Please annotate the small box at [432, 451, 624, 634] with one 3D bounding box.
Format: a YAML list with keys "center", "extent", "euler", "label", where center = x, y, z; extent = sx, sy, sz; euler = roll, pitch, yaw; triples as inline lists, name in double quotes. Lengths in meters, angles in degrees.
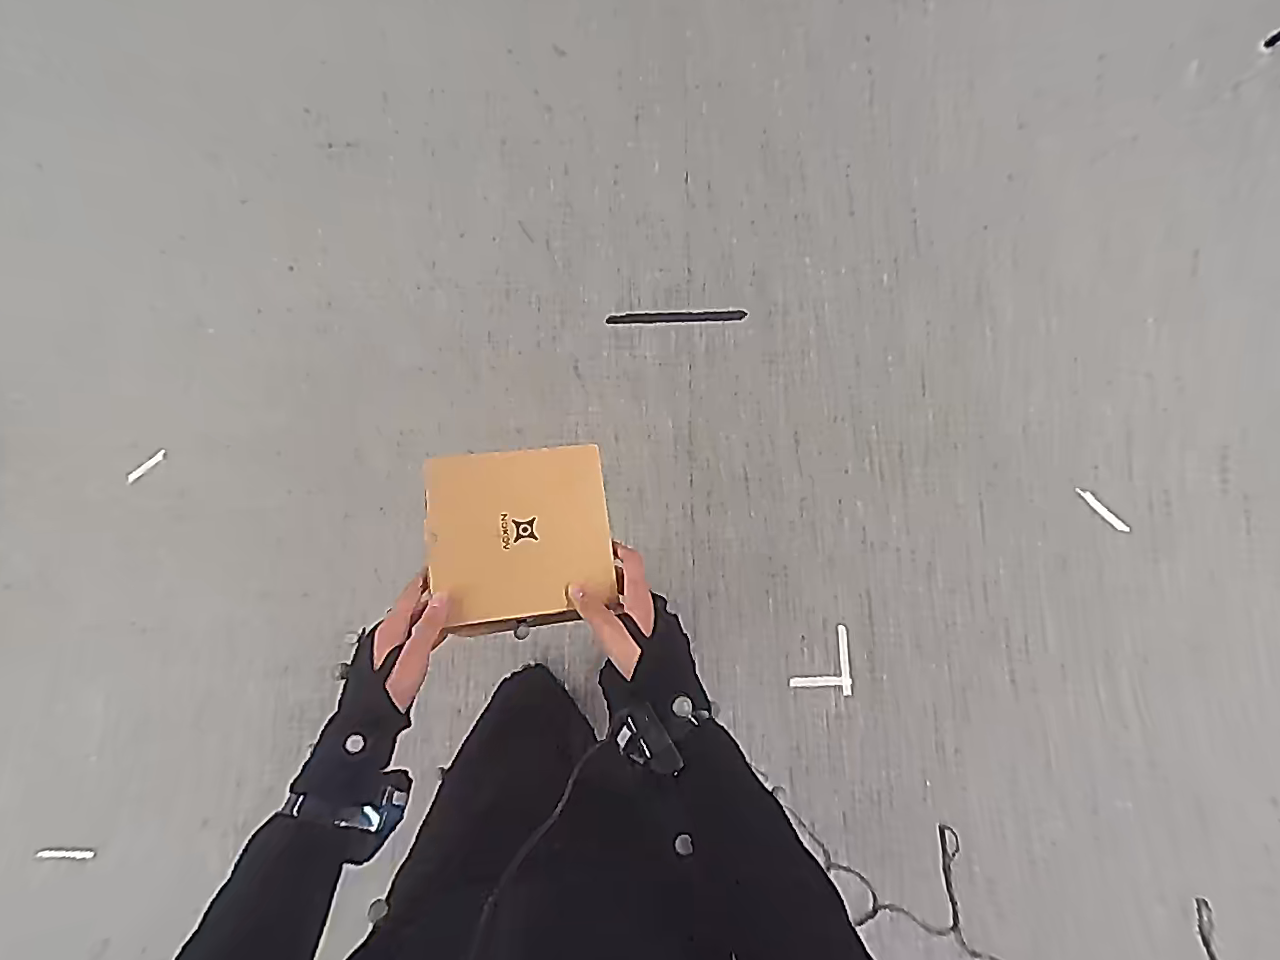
- center: [-0.122, 0.076, 0.602]
  extent: [0.179, 0.176, 0.168]
  euler: [-6, 74, -10]
  label: "small box"
